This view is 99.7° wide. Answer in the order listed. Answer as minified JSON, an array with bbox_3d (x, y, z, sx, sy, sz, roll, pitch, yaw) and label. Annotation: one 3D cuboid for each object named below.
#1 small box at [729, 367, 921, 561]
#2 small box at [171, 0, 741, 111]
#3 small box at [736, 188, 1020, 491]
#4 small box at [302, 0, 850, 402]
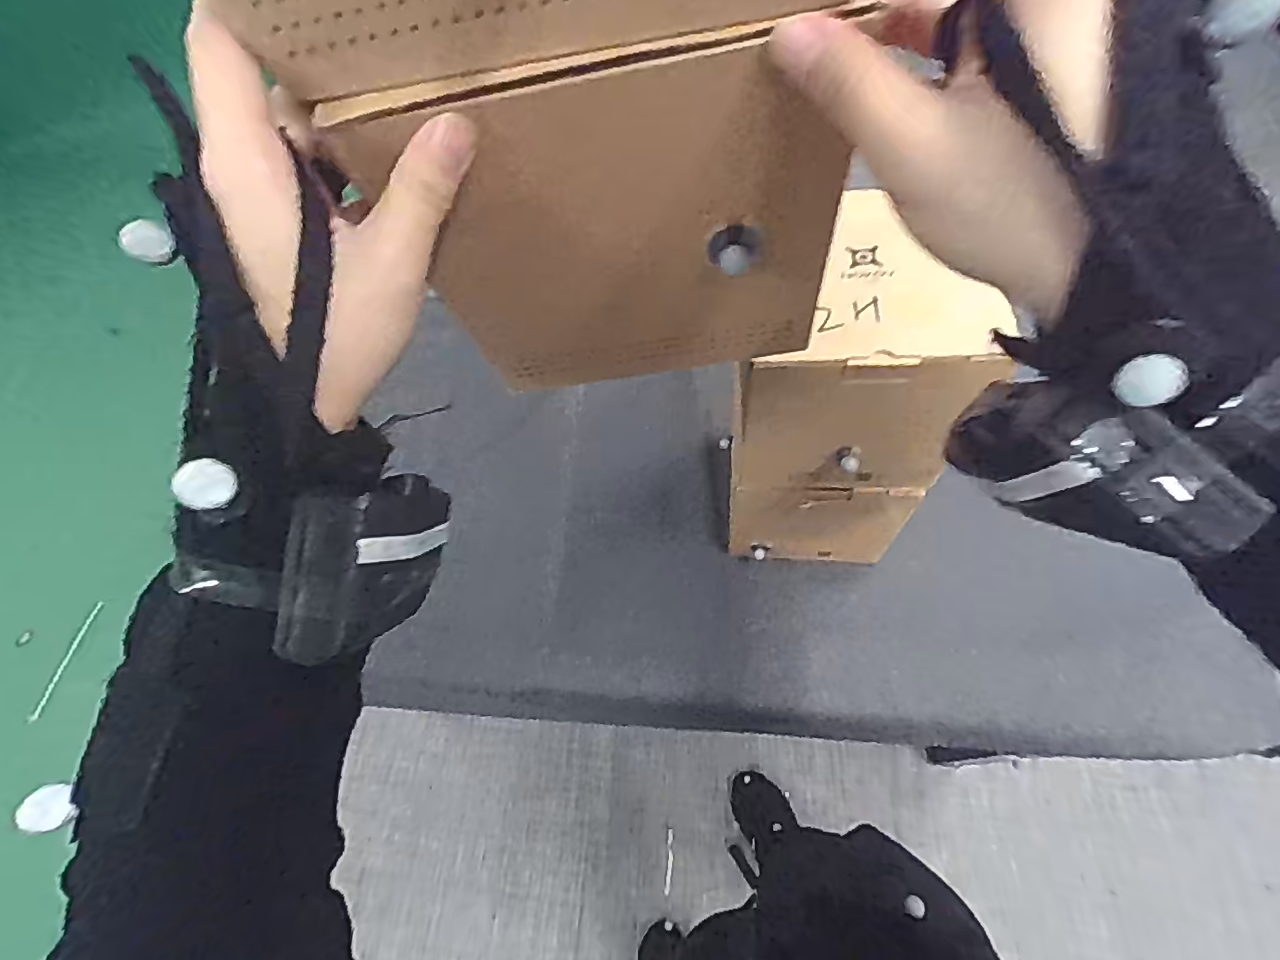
[{"bbox_3d":[0.184,-0.023,0.589,0.168,0.176,0.179,2,60,9],"label":"small box"},{"bbox_3d":[-0.050,-0.224,0.118,0.179,0.176,0.168,-4,67,7],"label":"small box"},{"bbox_3d":[0.166,-0.108,0.449,0.168,0.176,0.179,-1,60,8],"label":"small box"},{"bbox_3d":[-0.018,-0.157,0.267,0.179,0.176,0.168,-8,67,7],"label":"small box"}]
